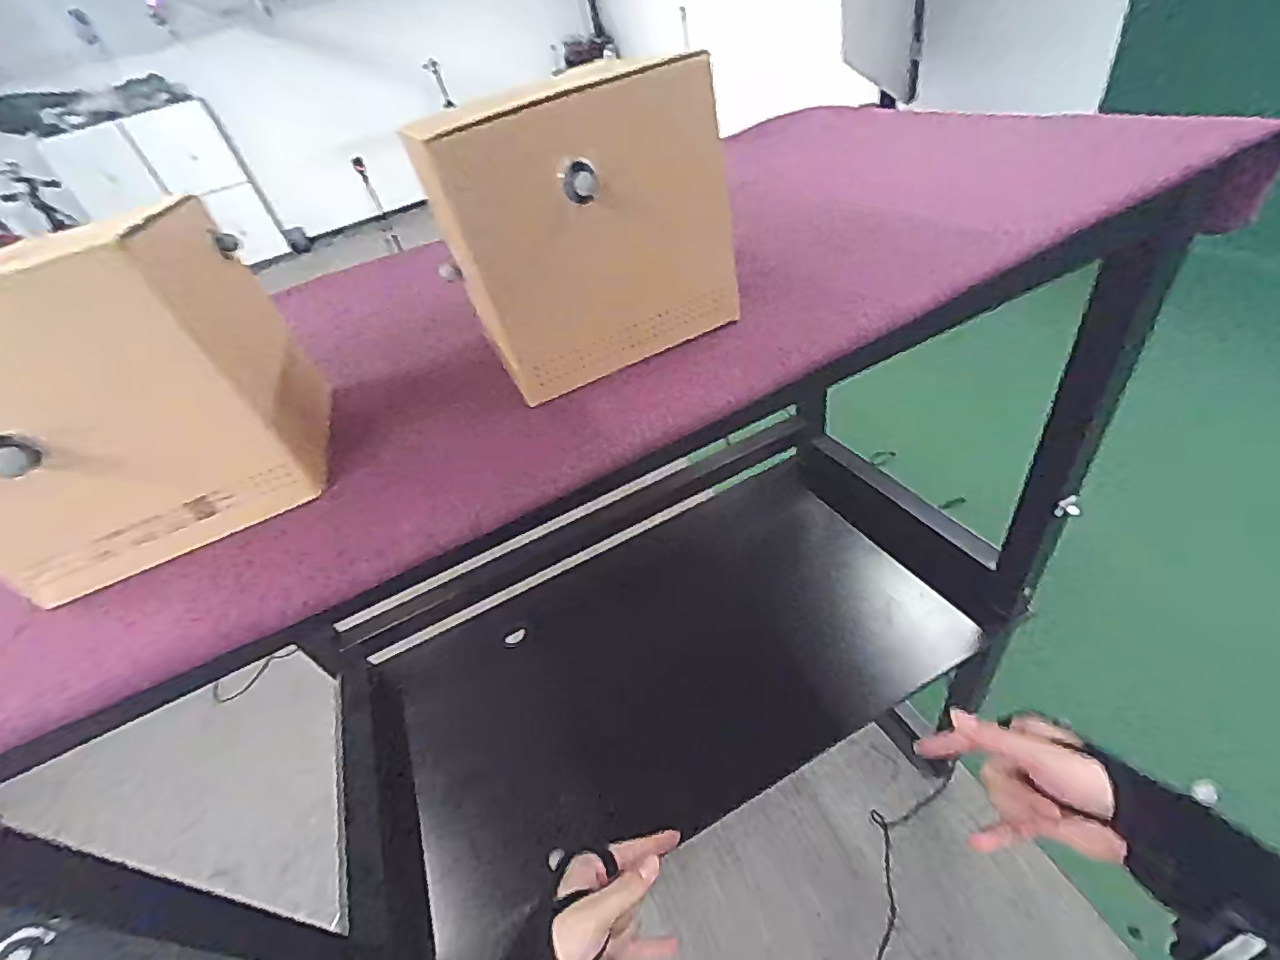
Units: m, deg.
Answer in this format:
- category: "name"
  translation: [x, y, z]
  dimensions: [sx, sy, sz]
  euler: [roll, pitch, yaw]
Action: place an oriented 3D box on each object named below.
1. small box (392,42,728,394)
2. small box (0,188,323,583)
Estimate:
- category: "small box"
  translation: [-0.054, -0.188, 0.398]
  dimensions: [0.179, 0.176, 0.168]
  euler: [-25, 41, -11]
- category: "small box"
  translation: [-0.329, -0.059, 0.343]
  dimensions: [0.168, 0.176, 0.179]
  euler: [-25, 40, -11]
